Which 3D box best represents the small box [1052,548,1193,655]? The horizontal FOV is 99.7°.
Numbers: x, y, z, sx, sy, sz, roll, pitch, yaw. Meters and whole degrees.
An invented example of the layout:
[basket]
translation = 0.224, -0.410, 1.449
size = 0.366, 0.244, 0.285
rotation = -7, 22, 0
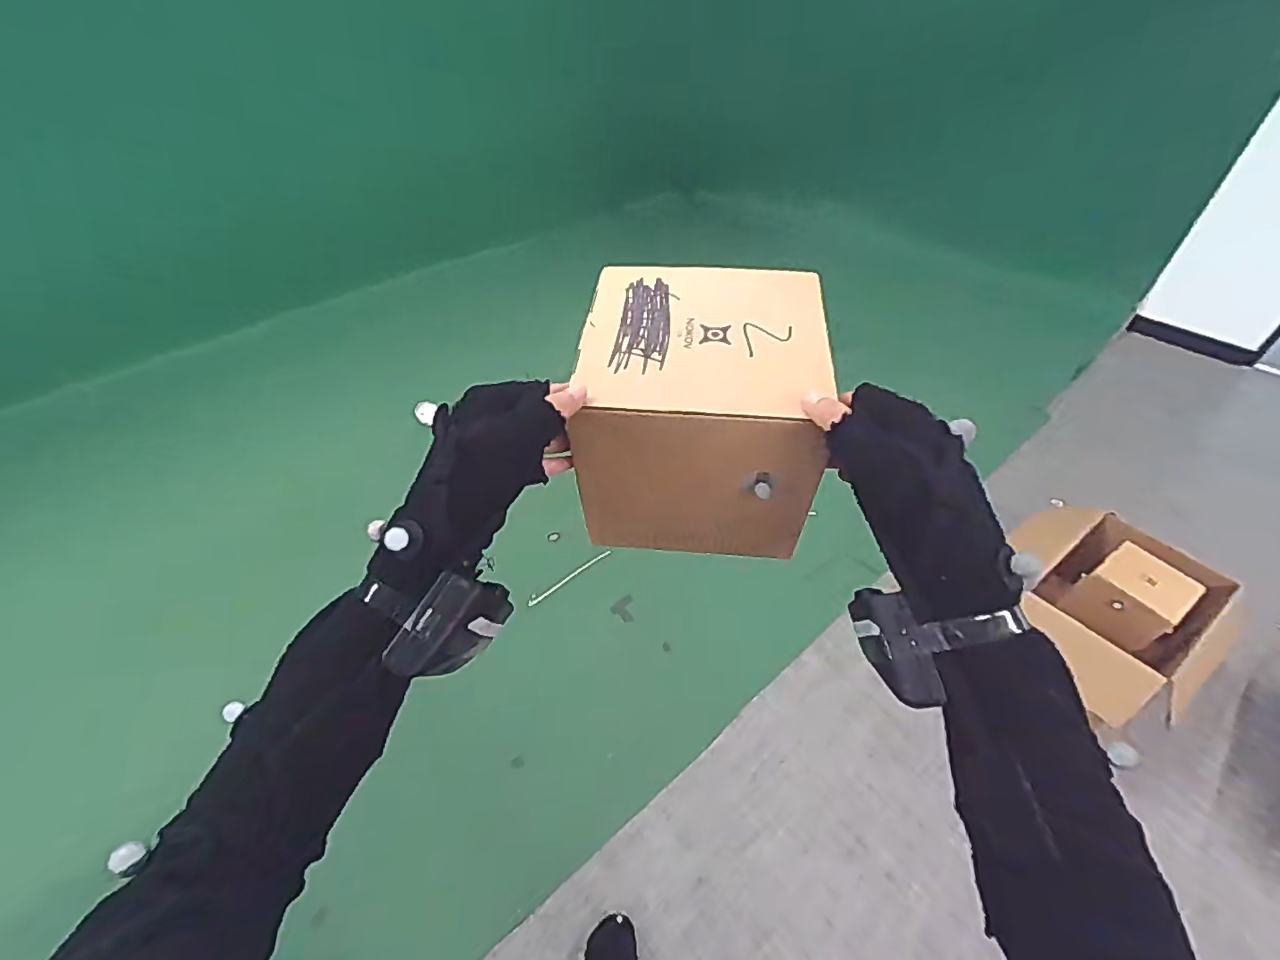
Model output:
[small box]
translation = 1.194, 0.310, 1.351
size = 0.168, 0.176, 0.179
rotation = -27, 51, -23
